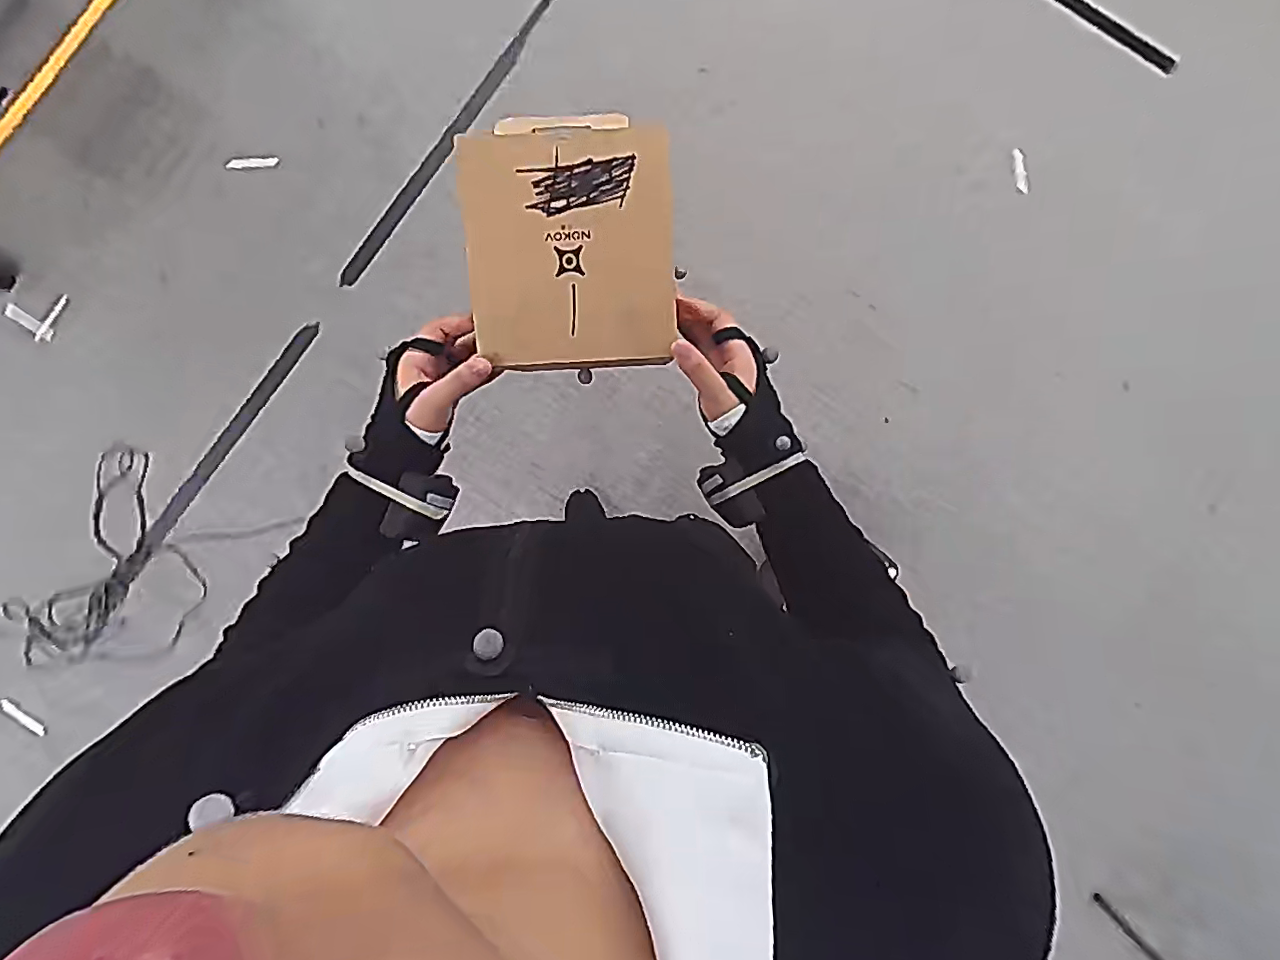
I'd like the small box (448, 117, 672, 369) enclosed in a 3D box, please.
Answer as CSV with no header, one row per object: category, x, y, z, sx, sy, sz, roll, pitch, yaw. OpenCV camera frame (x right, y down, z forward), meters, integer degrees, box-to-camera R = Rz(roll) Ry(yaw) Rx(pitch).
small box,-0.061,-0.198,0.500,0.168,0.176,0.179,-4,101,1
